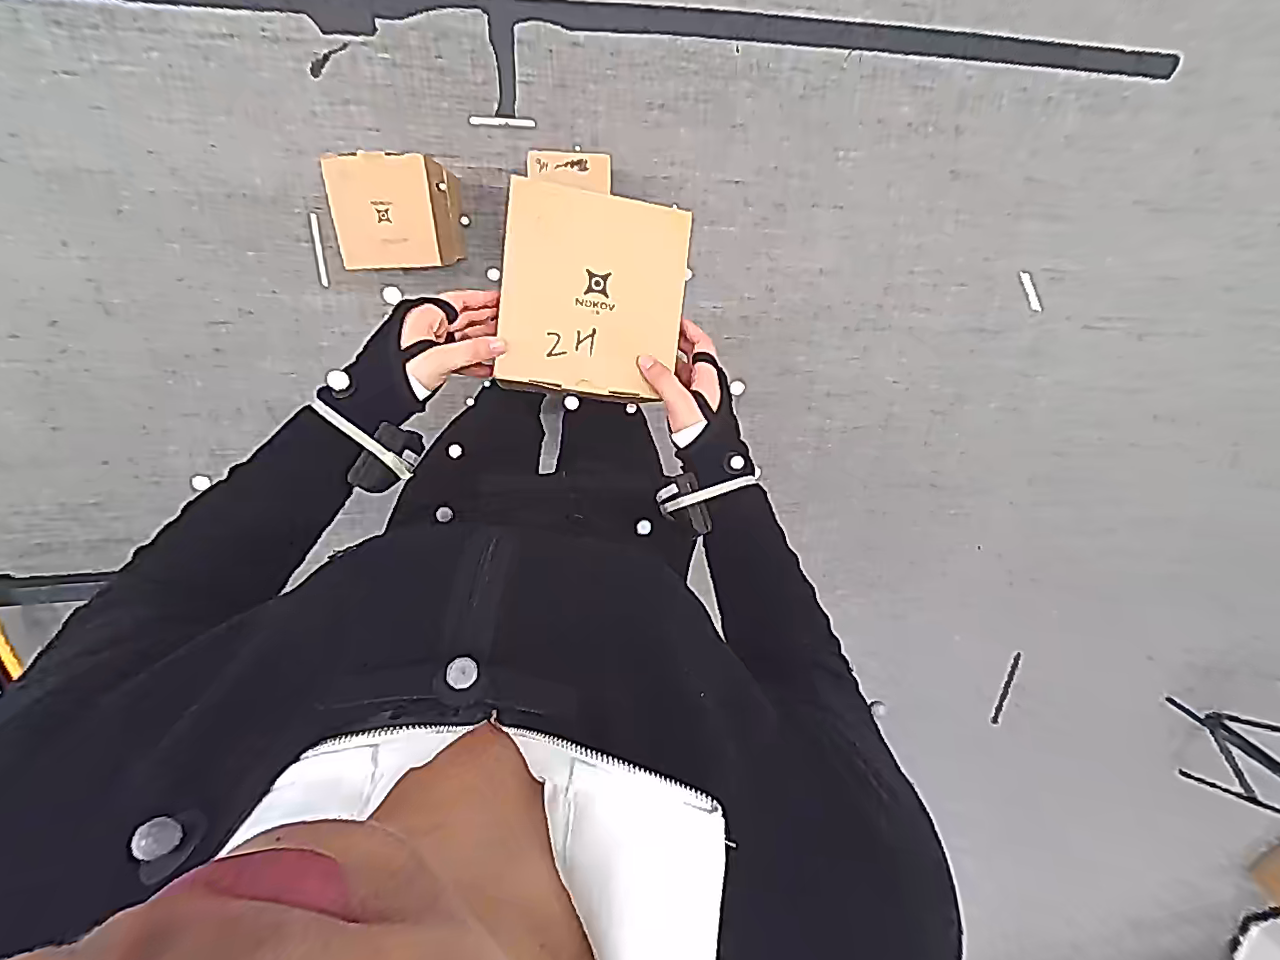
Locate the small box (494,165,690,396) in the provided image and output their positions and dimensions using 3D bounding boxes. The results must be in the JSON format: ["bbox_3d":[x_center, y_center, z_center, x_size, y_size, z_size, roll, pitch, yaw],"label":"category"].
[{"bbox_3d":[-0.058,-0.188,0.567,0.168,0.176,0.179,5,96,-12],"label":"small box"}]

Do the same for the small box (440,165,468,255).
[{"bbox_3d":[-0.469,-0.557,1.130,0.179,0.176,0.168,-4,115,-8],"label":"small box"}]

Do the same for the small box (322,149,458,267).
[{"bbox_3d":[-0.442,-0.489,0.985,0.168,0.176,0.179,-5,116,-5],"label":"small box"}]

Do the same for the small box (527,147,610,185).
[{"bbox_3d":[-0.153,-0.602,1.163,0.168,0.176,0.179,-2,115,-8],"label":"small box"}]
